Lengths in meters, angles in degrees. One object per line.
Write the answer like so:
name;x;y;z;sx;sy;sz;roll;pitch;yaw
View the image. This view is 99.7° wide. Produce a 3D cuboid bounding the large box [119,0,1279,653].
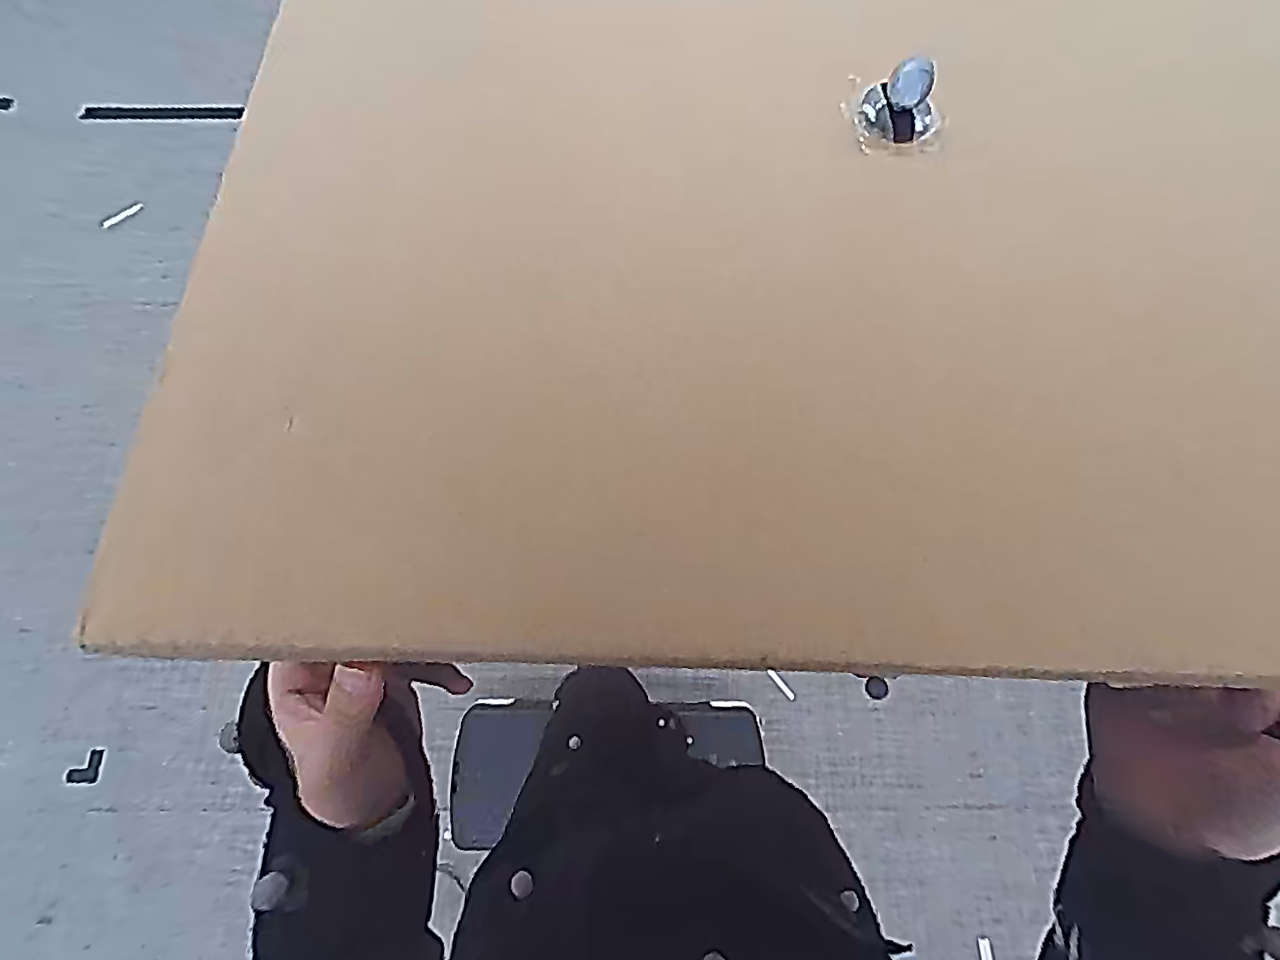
large box;0.070;-0.070;0.313;0.408;0.320;0.320;1;74;-1
